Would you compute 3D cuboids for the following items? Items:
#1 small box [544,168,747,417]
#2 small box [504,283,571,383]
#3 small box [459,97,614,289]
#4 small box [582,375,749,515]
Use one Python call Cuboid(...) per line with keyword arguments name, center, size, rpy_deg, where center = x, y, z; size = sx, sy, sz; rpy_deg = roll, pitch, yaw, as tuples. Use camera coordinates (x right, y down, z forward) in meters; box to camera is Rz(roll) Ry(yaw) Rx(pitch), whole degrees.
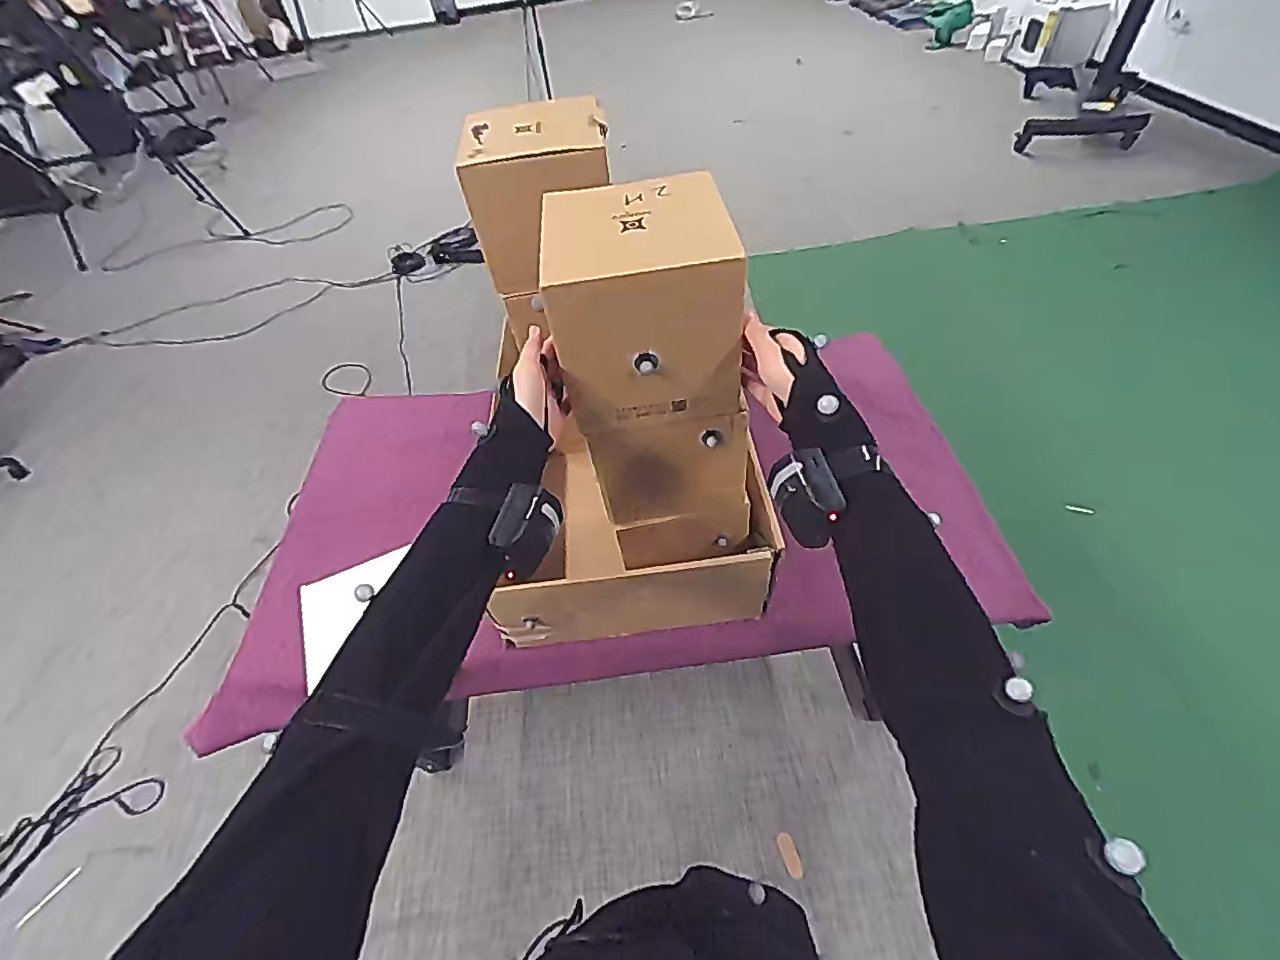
Cuboid(name="small box", center=(0.007, -0.176, 0.535), size=(0.168, 0.176, 0.179), rpy_deg=(-7, 49, 1))
Cuboid(name="small box", center=(-0.104, -0.275, 0.848), size=(0.179, 0.176, 0.168), rpy_deg=(-10, 51, -1))
Cuboid(name="small box", center=(-0.121, -0.379, 0.722), size=(0.179, 0.176, 0.168), rpy_deg=(-7, 51, -1))
Cuboid(name="small box", center=(0.029, -0.072, 0.661), size=(0.179, 0.176, 0.168), rpy_deg=(-7, 49, 1))
